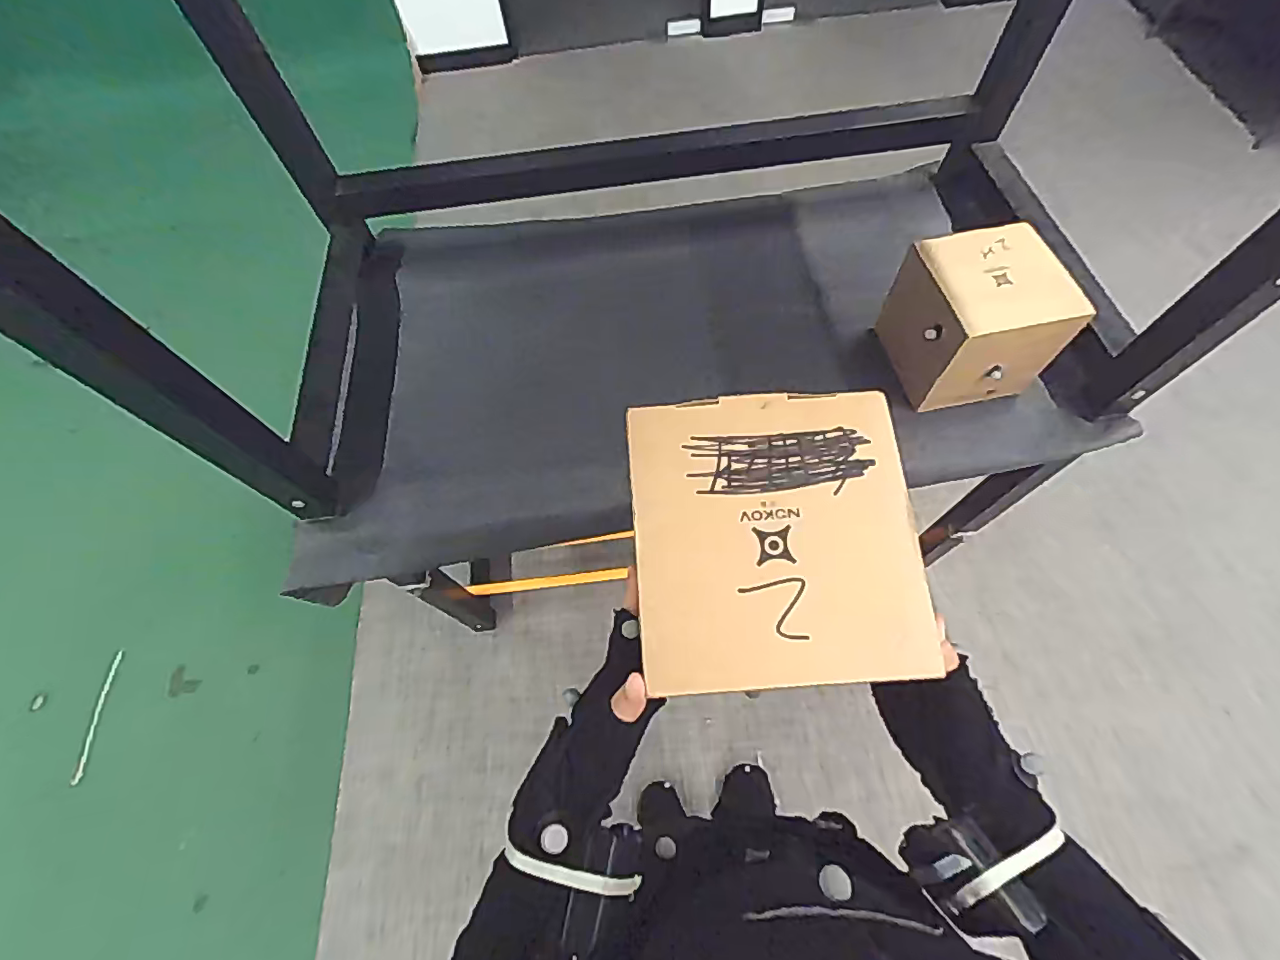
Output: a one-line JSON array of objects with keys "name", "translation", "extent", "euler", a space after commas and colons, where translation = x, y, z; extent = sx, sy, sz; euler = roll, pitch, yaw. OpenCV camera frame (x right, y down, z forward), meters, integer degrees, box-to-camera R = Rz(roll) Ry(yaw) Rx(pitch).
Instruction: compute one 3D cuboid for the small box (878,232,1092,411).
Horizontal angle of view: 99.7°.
[{"name": "small box", "translation": [0.473, -0.216, 0.775], "extent": [0.168, 0.176, 0.179], "euler": [-11, 62, -2]}]
